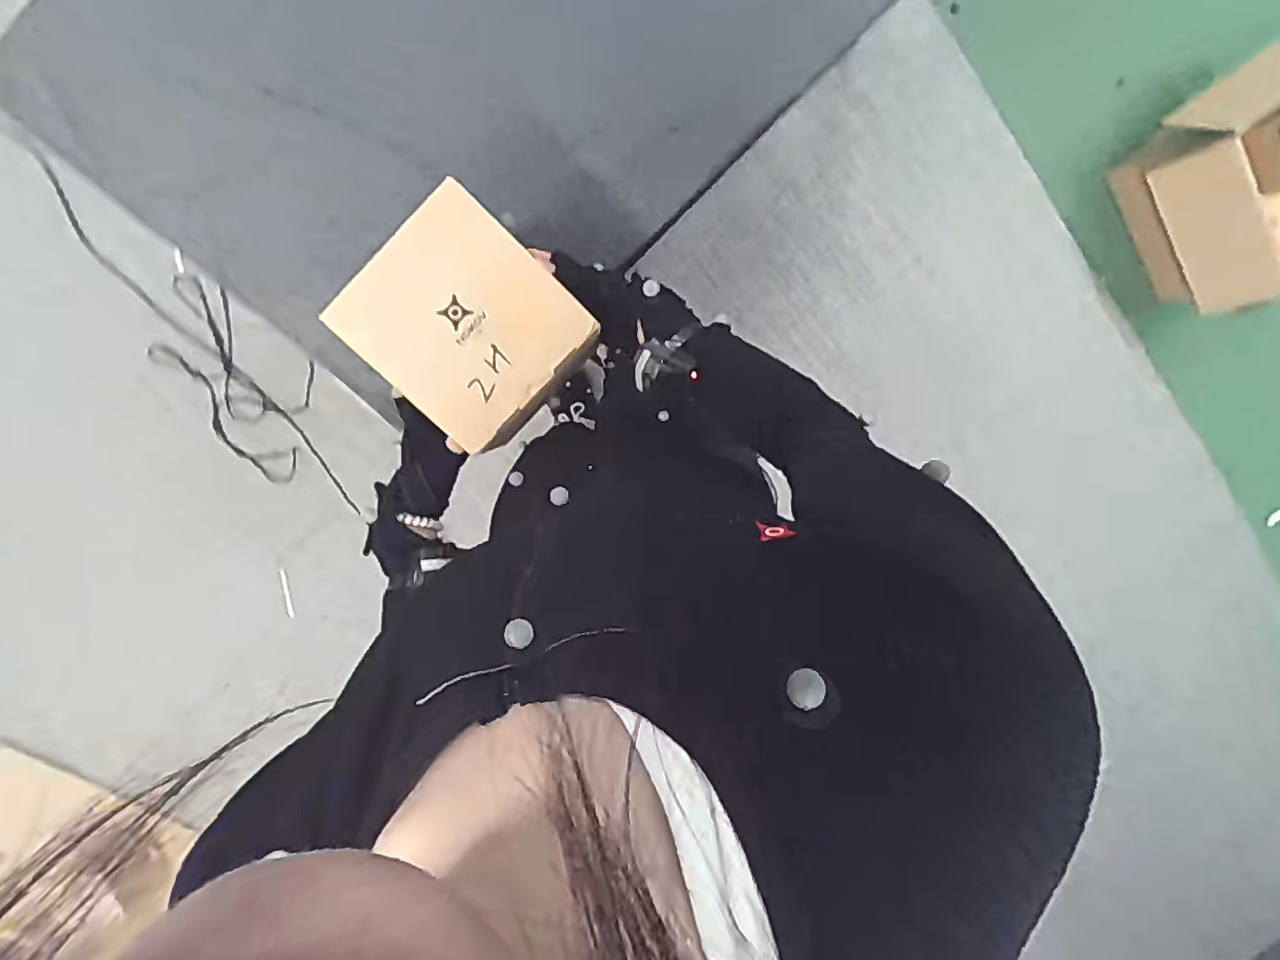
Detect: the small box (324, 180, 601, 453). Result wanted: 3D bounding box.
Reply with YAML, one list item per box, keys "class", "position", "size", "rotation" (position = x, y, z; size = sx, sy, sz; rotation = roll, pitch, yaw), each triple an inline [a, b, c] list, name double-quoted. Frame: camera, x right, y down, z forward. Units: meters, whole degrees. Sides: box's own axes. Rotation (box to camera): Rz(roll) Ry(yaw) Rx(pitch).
- class: "small box"
  position: [-0.158, -0.145, 0.543]
  size: [0.179, 0.176, 0.168]
  rotation: [45, 92, -8]
